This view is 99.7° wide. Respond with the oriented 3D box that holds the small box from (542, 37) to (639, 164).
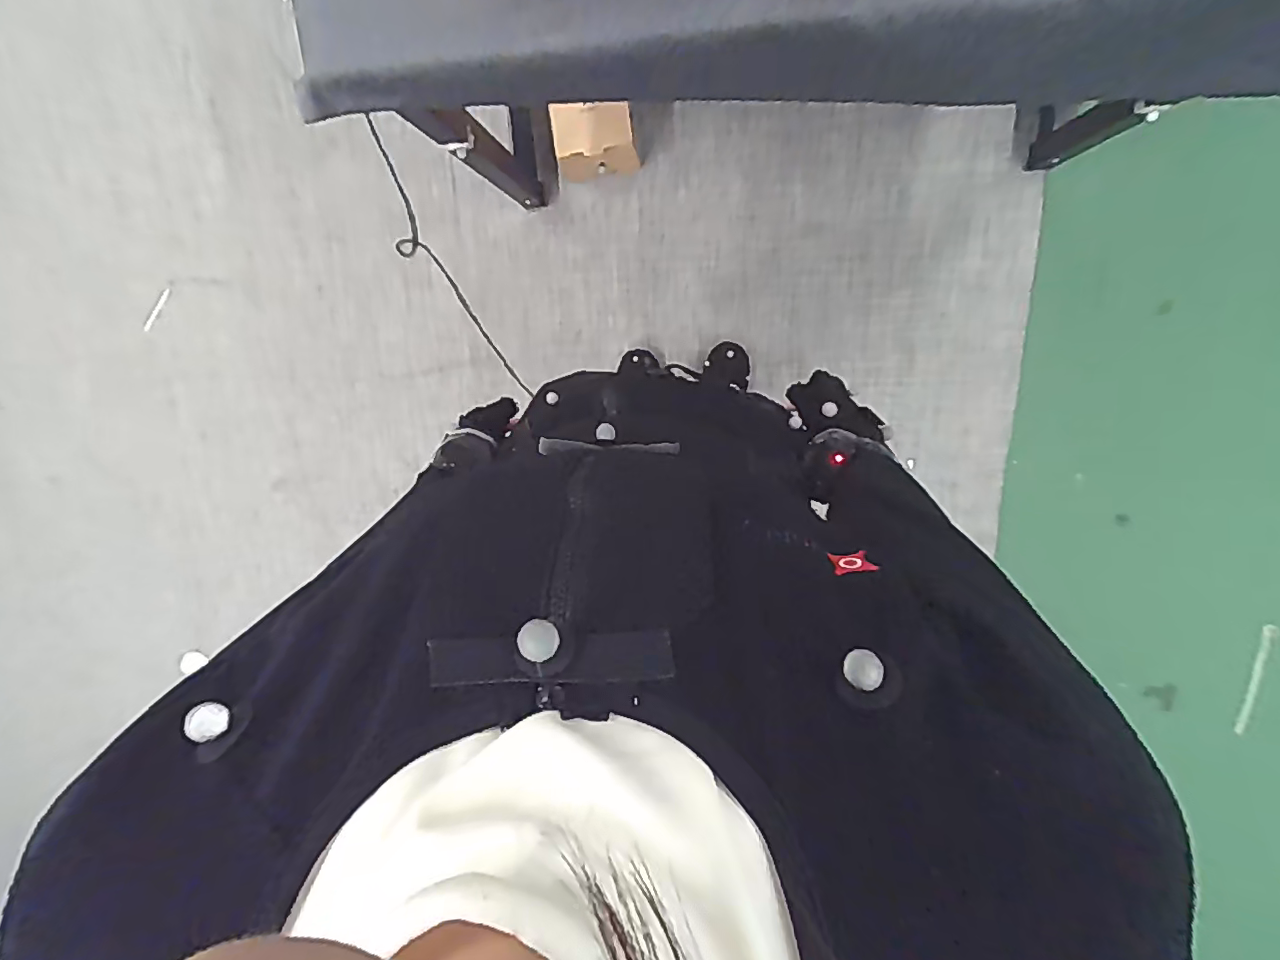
[{"bbox_3d":[-0.098,-0.804,1.169,0.168,0.176,0.179,-5,105,7],"label":"small box"}]
